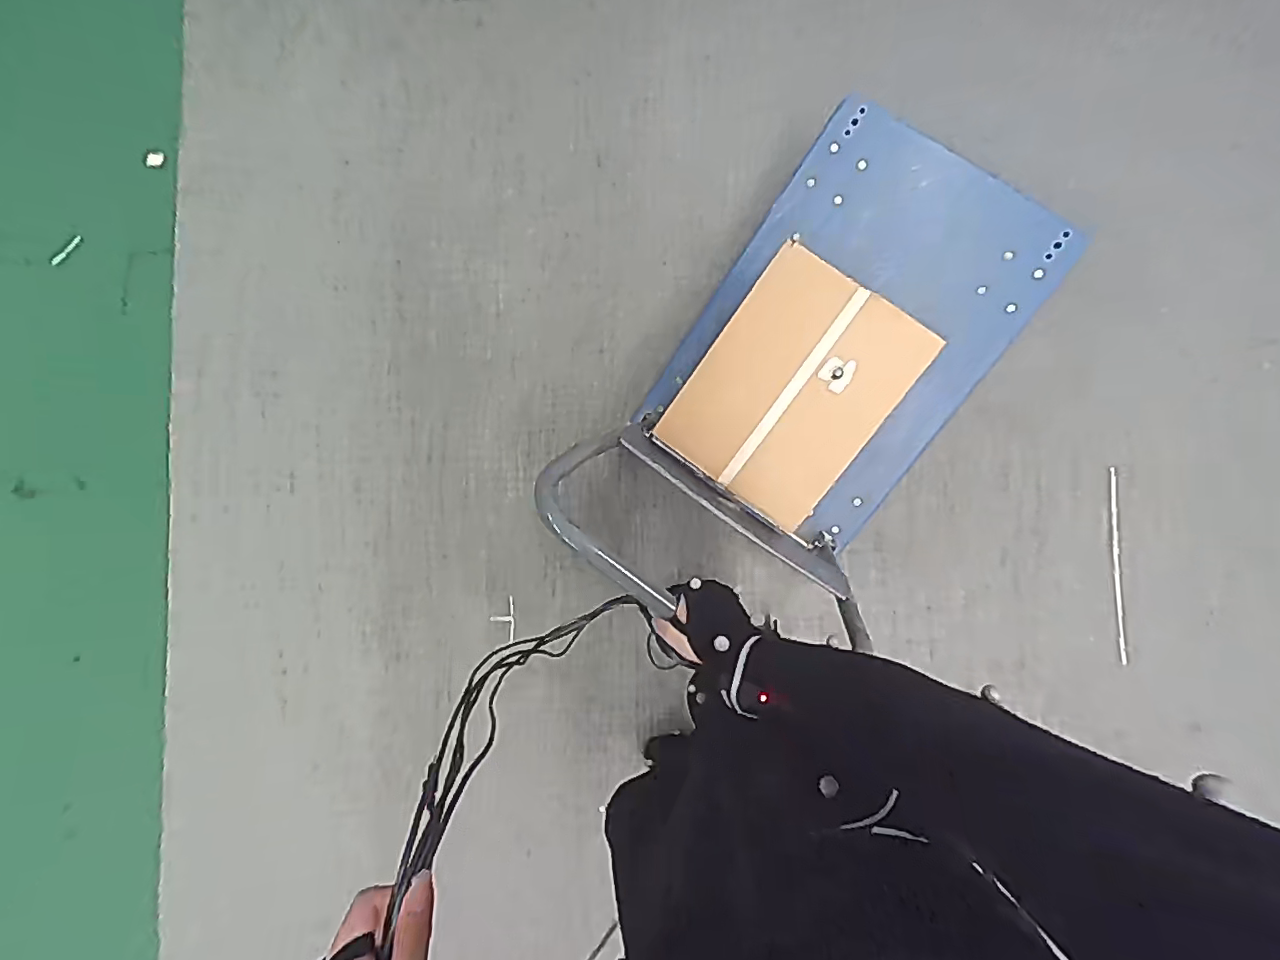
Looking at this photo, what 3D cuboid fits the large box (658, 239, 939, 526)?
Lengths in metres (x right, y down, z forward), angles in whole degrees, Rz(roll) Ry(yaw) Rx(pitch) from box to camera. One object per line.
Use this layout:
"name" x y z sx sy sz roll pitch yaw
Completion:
"large box" 0.289 -0.175 1.081 0.320 0.320 0.408 37 101 5
